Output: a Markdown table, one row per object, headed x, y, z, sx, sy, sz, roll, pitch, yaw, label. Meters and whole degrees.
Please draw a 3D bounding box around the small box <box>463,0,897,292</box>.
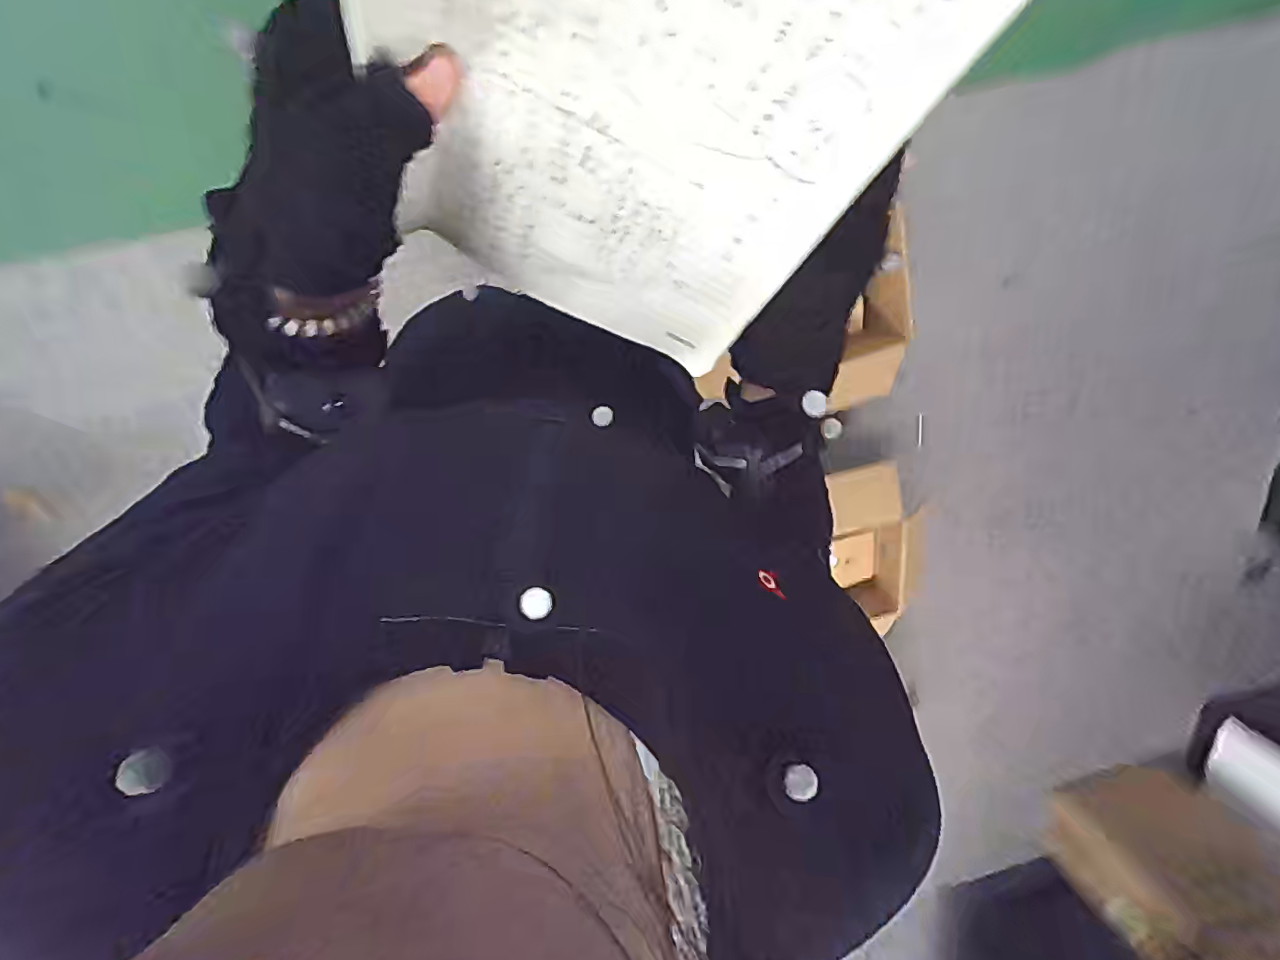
| x | y | z | sx | sy | sz | roll | pitch | yaw | label |
| --- | --- | --- | --- | --- | --- | --- | --- | --- | --- |
| 0.016 | -0.235 | 0.285 | 0.168 | 0.176 | 0.179 | 14 | 133 | -8 | small box |
